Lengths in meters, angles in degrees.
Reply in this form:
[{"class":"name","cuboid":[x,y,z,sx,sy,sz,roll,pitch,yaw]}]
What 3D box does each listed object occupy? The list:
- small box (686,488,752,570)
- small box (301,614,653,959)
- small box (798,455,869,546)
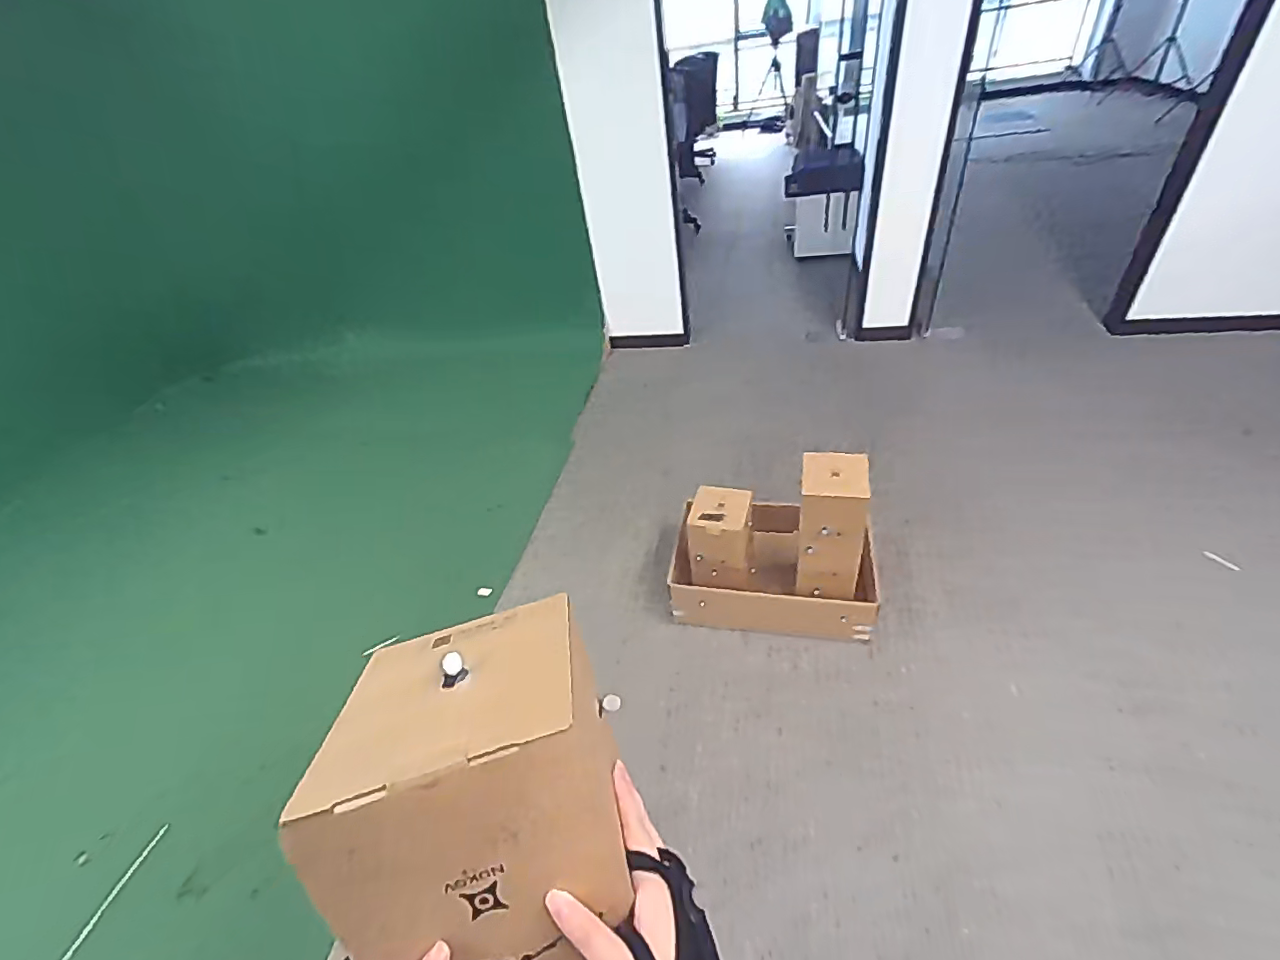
[{"class":"small box","cuboid":[0.248,0.151,1.655,0.168,0.176,0.179,7,42,18]},{"class":"small box","cuboid":[-0.100,0.219,0.399,0.168,0.179,0.176,-16,16,-3]},{"class":"small box","cuboid":[0.520,0.053,1.464,0.168,0.176,0.179,3,42,17]}]
